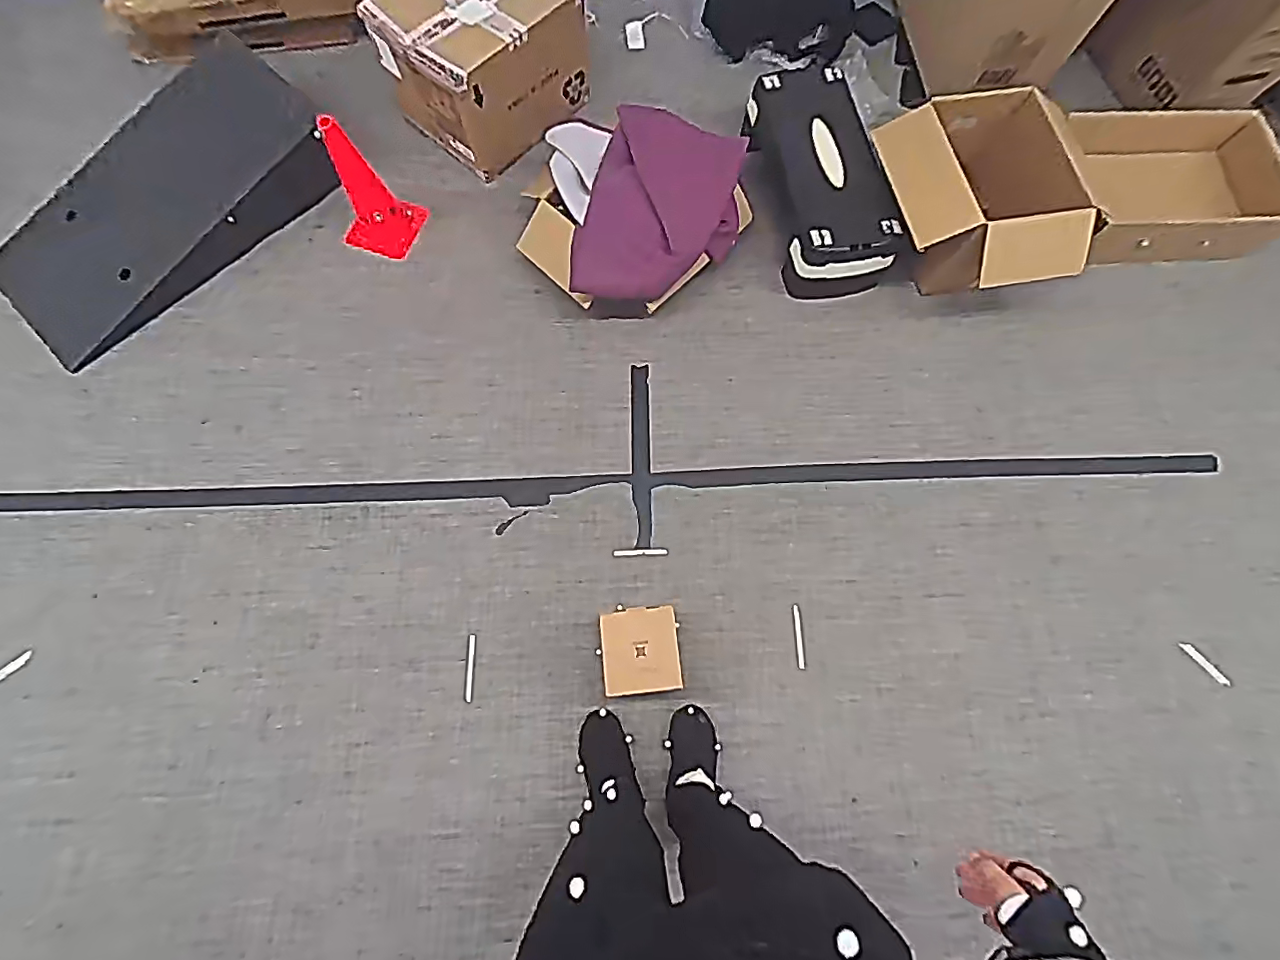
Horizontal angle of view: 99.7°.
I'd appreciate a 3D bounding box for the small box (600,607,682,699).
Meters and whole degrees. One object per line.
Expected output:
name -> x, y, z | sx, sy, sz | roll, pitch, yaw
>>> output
small box -> -0.001, 0.391, 1.234 | 0.168, 0.176, 0.179 | -6, 75, -2
